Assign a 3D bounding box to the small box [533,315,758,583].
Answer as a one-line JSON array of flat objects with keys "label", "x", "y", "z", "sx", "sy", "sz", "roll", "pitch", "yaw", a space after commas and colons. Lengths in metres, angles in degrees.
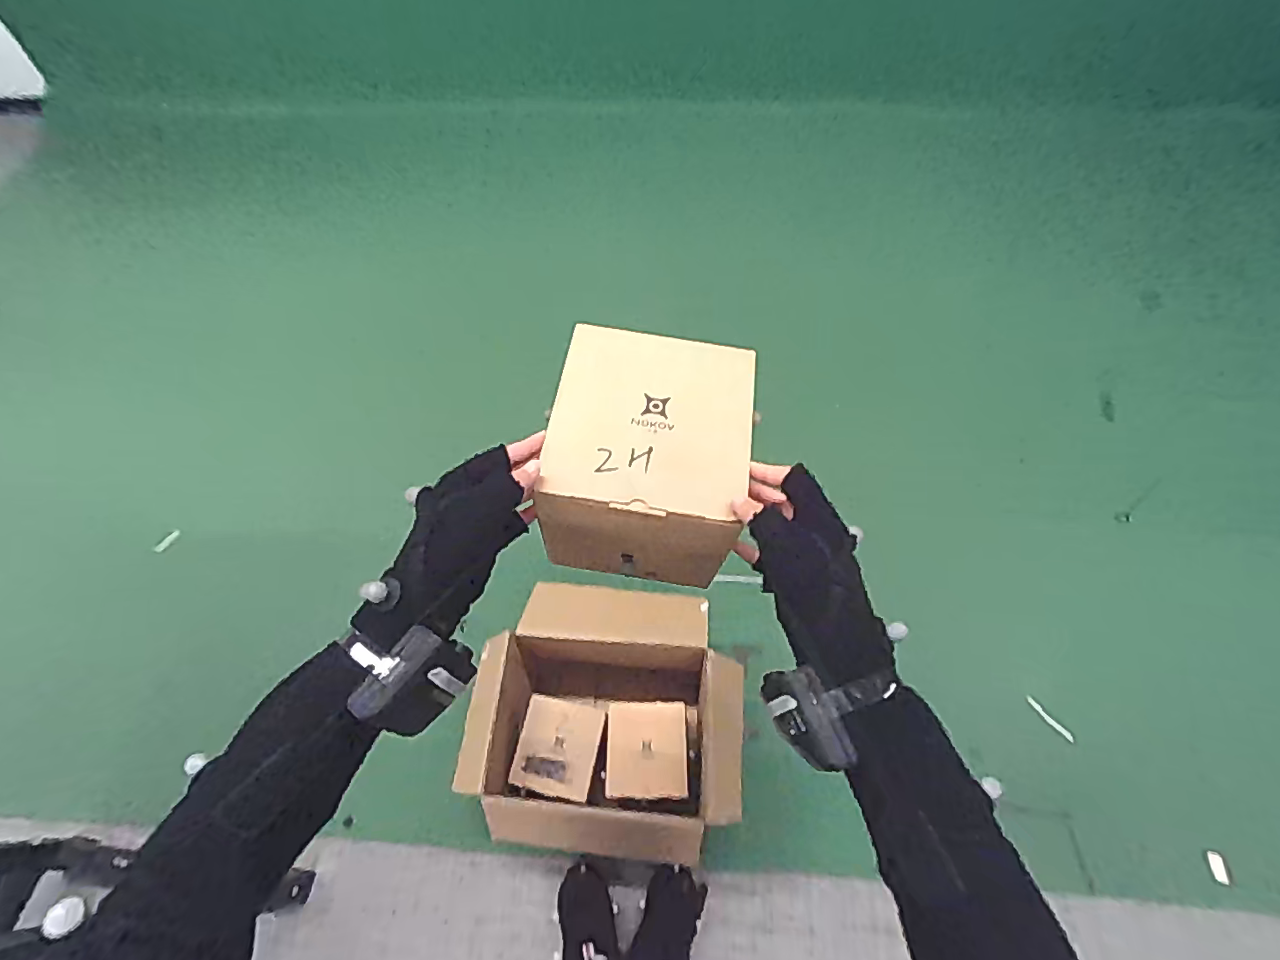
[{"label": "small box", "x": 0.006, "y": -0.021, "z": 0.510, "sx": 0.168, "sy": 0.176, "sz": 0.179, "roll": 9, "pitch": 62, "yaw": 0}]
